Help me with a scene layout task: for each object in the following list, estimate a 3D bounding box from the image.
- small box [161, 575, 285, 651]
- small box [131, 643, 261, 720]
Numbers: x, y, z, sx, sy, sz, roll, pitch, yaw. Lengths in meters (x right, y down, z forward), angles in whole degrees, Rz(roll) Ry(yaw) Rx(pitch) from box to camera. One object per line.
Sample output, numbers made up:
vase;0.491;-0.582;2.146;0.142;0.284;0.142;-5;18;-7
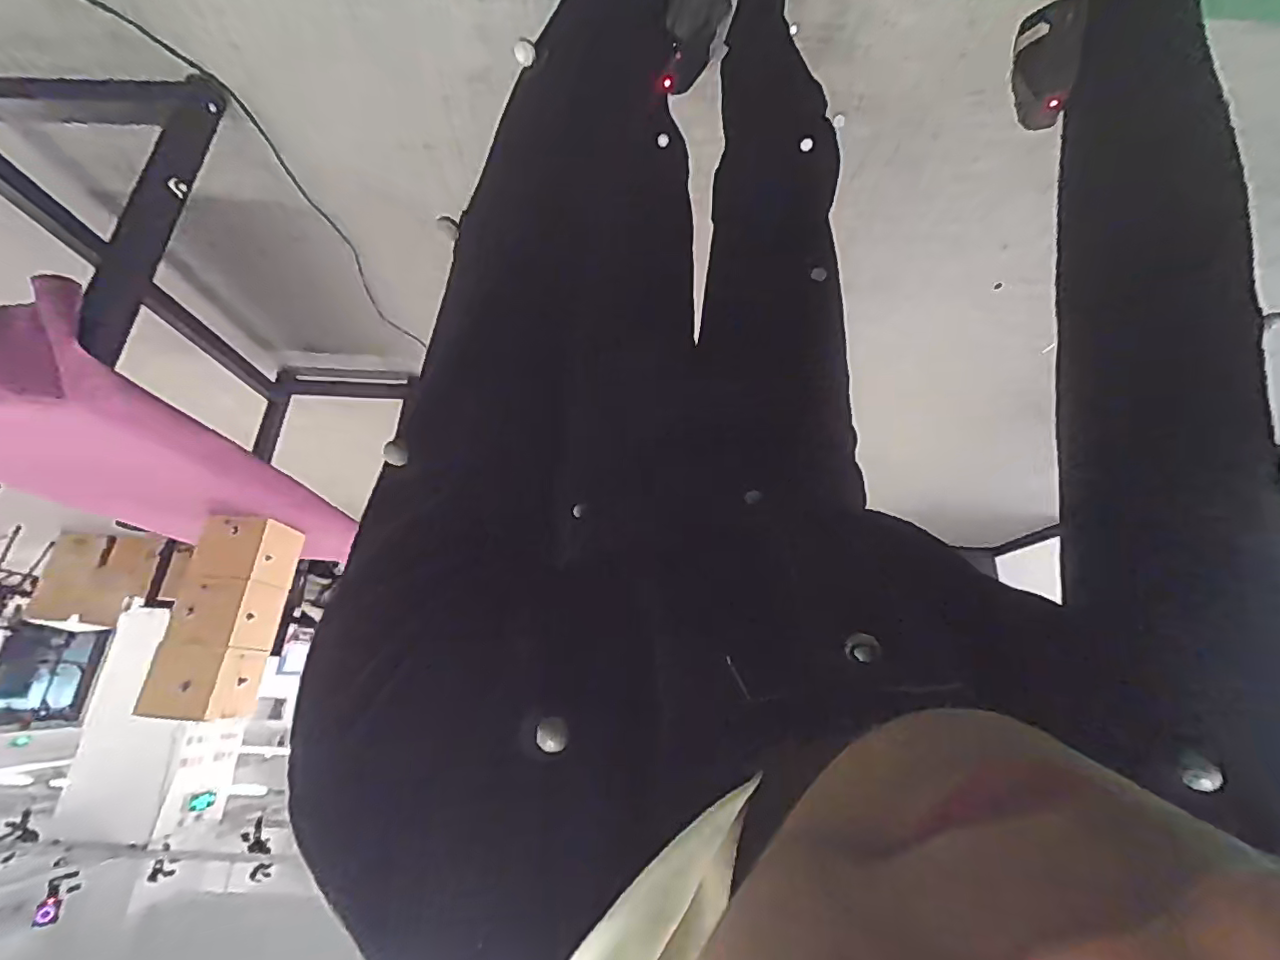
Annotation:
small box;-1.069;0.346;1.403;0.168;0.176;0.179;4;159;0
small box;-1.085;0.497;1.344;0.179;0.176;0.168;3;158;1
